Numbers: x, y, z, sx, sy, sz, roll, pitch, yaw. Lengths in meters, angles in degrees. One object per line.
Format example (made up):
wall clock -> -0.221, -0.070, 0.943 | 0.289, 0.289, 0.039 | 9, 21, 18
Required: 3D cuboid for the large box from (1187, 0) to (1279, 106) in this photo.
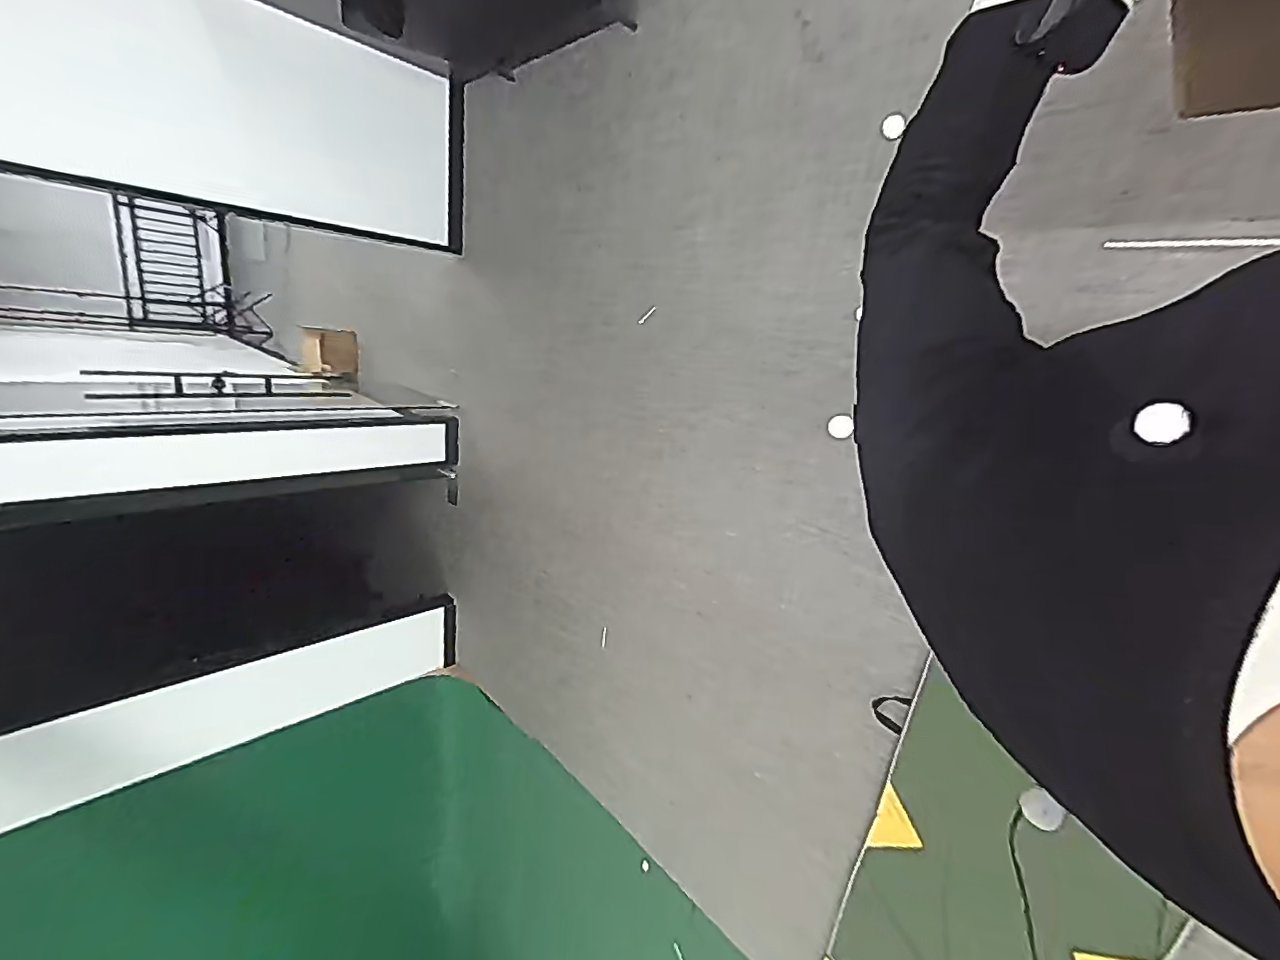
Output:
large box -> 0.583, -0.434, 0.253 | 0.408, 0.320, 0.320 | 18, 114, 39
